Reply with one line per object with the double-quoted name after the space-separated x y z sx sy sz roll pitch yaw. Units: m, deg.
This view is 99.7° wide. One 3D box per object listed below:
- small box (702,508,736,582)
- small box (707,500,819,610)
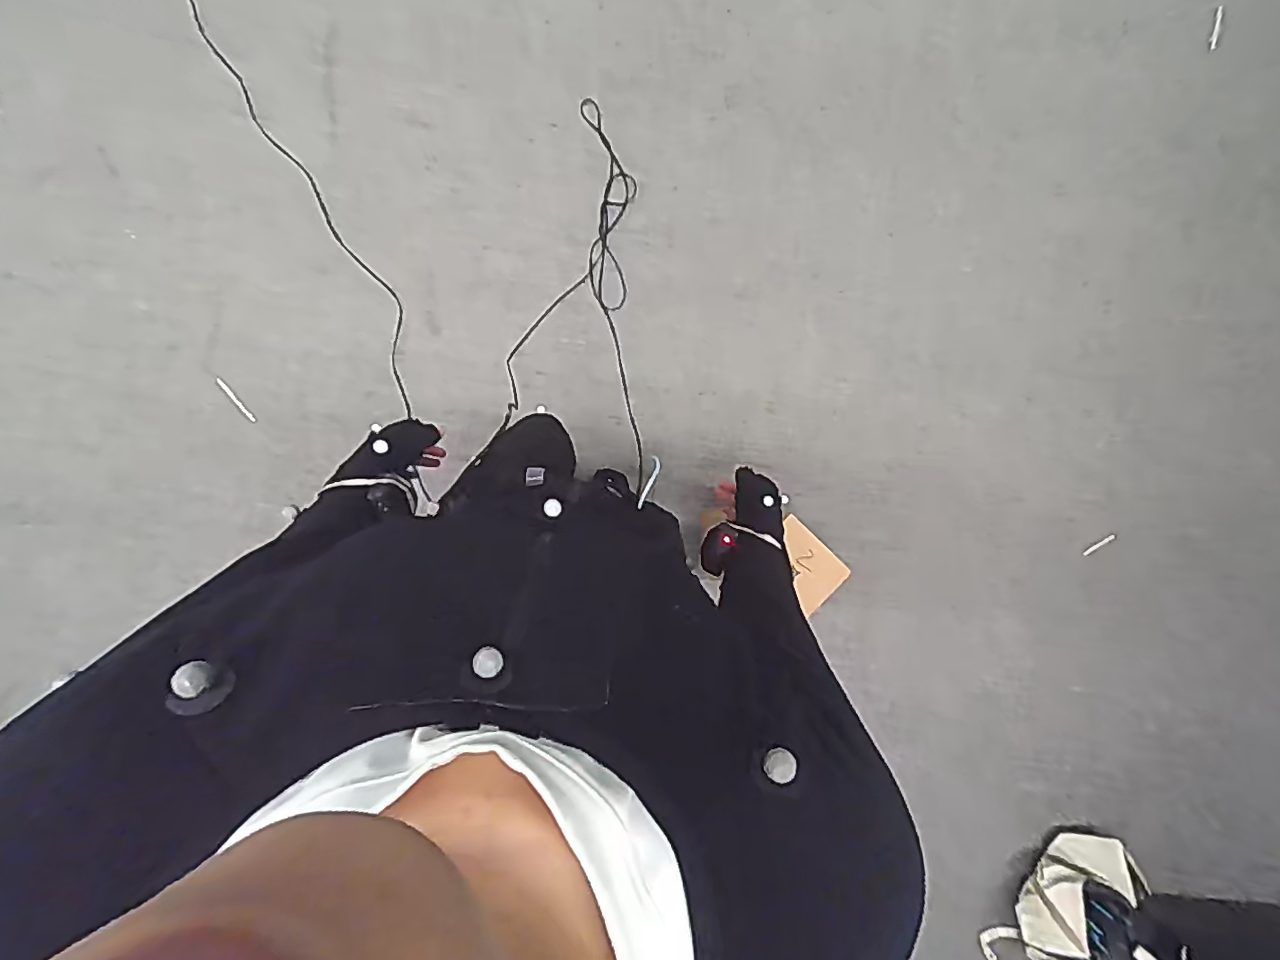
0.259 0.167 1.407 0.179 0.176 0.168 2 95 -3 "small box"
0.274 0.164 1.259 0.168 0.176 0.179 37 93 -4 "small box"
